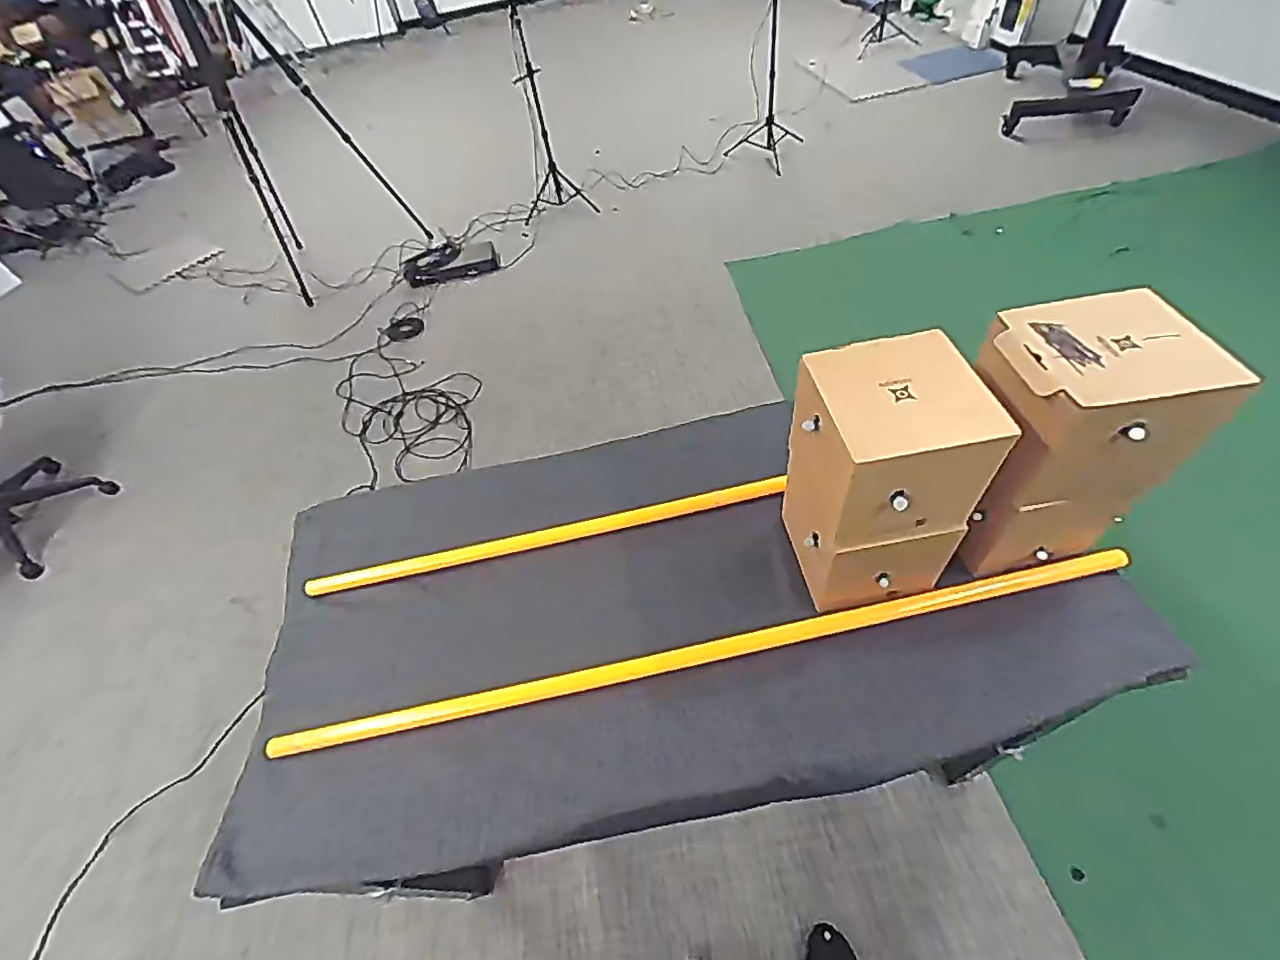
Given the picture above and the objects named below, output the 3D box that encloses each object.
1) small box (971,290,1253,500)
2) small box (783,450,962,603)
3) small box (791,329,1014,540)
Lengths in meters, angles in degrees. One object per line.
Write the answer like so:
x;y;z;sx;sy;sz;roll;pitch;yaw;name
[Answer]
0.509;-0.093;0.634;0.179;0.176;0.168;-8;52;2;small box
0.308;0.059;0.760;0.168;0.176;0.179;-10;51;1;small box
0.285;-0.044;0.636;0.168;0.176;0.179;-11;50;2;small box
